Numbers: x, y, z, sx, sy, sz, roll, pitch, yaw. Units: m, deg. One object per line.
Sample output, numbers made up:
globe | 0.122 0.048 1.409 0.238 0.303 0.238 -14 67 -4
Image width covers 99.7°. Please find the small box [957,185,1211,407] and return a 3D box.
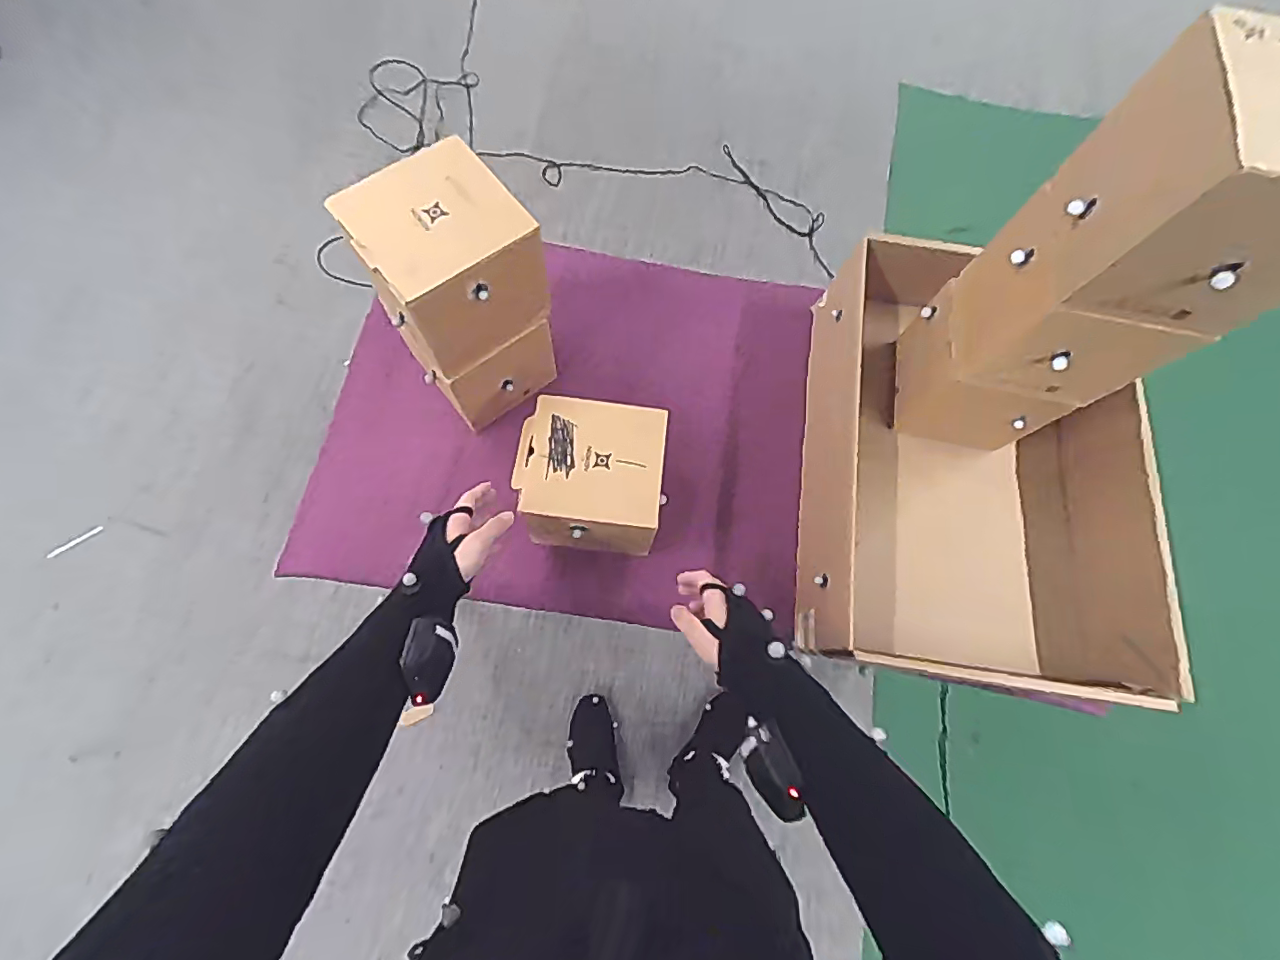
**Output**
small box | 0.508 -0.207 0.647 0.168 0.176 0.179 11 72 1

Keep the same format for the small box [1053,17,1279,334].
small box | 0.517 -0.258 0.491 0.168 0.176 0.179 11 73 0

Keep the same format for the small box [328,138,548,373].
small box | -0.232 -0.265 0.671 0.179 0.176 0.168 -37 79 -14

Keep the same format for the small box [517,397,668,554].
small box | -0.062 0.002 0.765 0.179 0.176 0.168 7 70 -2

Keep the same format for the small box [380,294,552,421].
small box | -0.250 -0.211 0.824 0.168 0.176 0.179 -37 78 -15
